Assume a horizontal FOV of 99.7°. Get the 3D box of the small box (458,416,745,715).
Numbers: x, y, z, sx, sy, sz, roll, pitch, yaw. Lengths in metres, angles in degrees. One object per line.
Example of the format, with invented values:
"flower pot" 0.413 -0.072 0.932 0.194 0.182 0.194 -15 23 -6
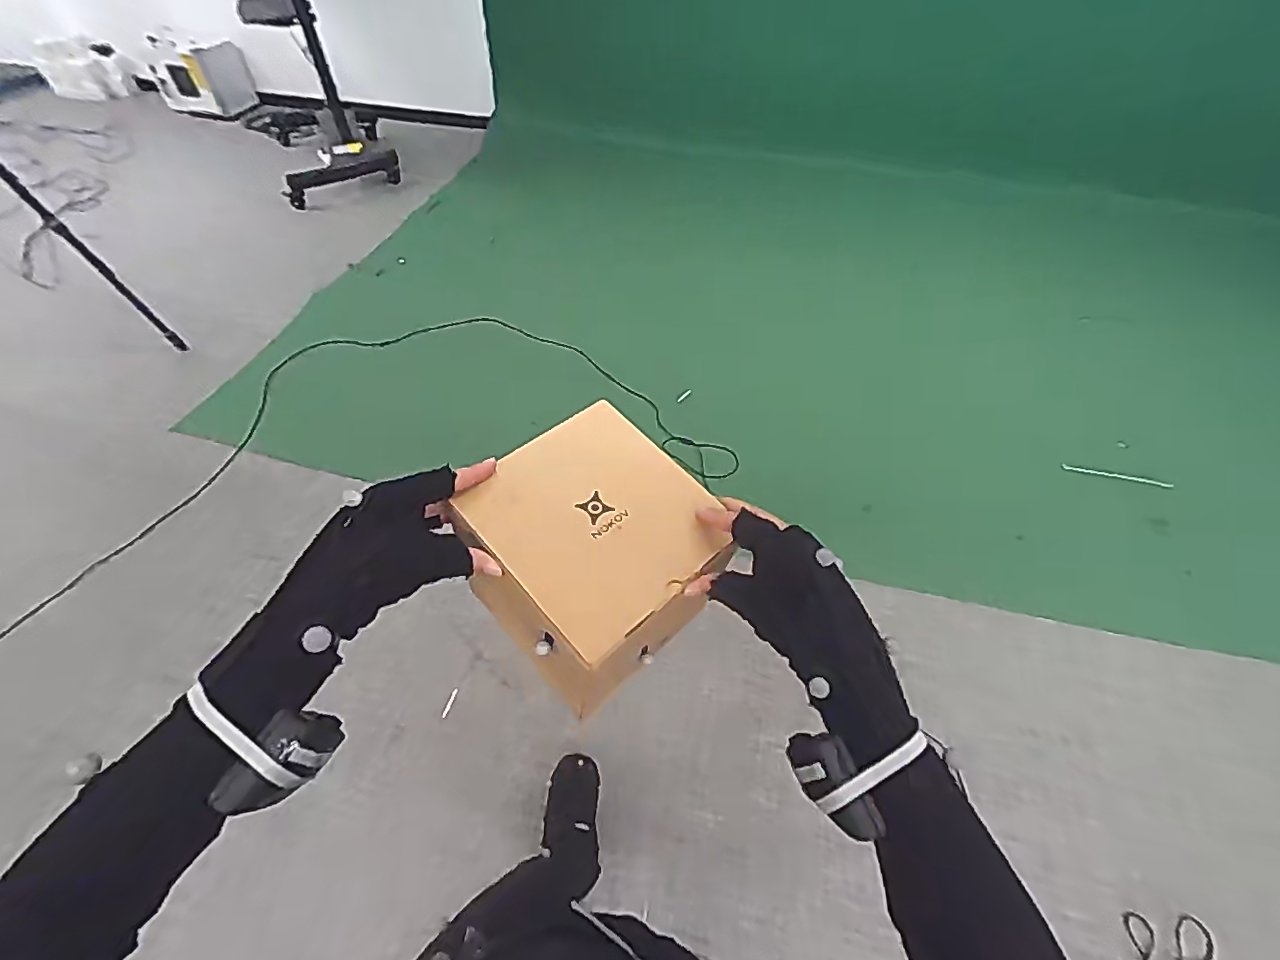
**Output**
"small box" -0.041 0.081 0.495 0.168 0.176 0.179 -35 67 -29
